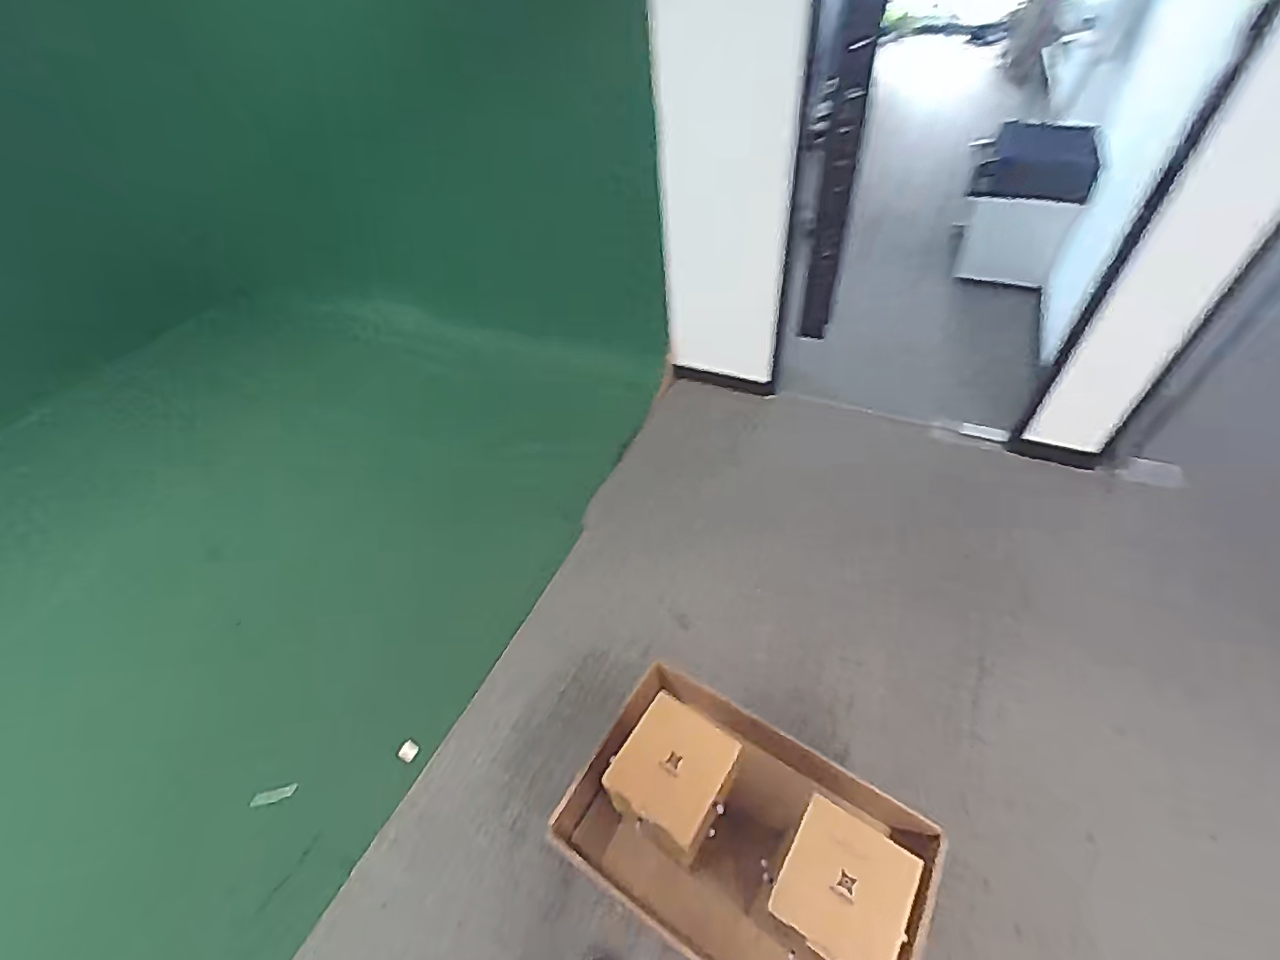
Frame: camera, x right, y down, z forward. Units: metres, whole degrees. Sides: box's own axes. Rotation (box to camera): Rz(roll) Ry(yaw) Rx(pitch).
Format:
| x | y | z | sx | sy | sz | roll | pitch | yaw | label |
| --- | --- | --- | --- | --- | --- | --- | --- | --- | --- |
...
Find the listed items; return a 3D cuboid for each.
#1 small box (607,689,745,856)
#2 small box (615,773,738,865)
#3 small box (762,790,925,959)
| x | y | z | sx | sy | sz | roll | pitch | yaw | label |
| --- | --- | --- | --- | --- | --- | --- | --- | --- | --- |
| 0.063 | 0.509 | 0.940 | 0.168 | 0.176 | 0.179 | 26 | 57 | 26 | small box |
| 0.074 | 0.617 | 1.062 | 0.179 | 0.176 | 0.168 | 27 | 57 | 27 | small box |
| 0.295 | 0.615 | 0.812 | 0.168 | 0.176 | 0.179 | 26 | 55 | 26 | small box |
